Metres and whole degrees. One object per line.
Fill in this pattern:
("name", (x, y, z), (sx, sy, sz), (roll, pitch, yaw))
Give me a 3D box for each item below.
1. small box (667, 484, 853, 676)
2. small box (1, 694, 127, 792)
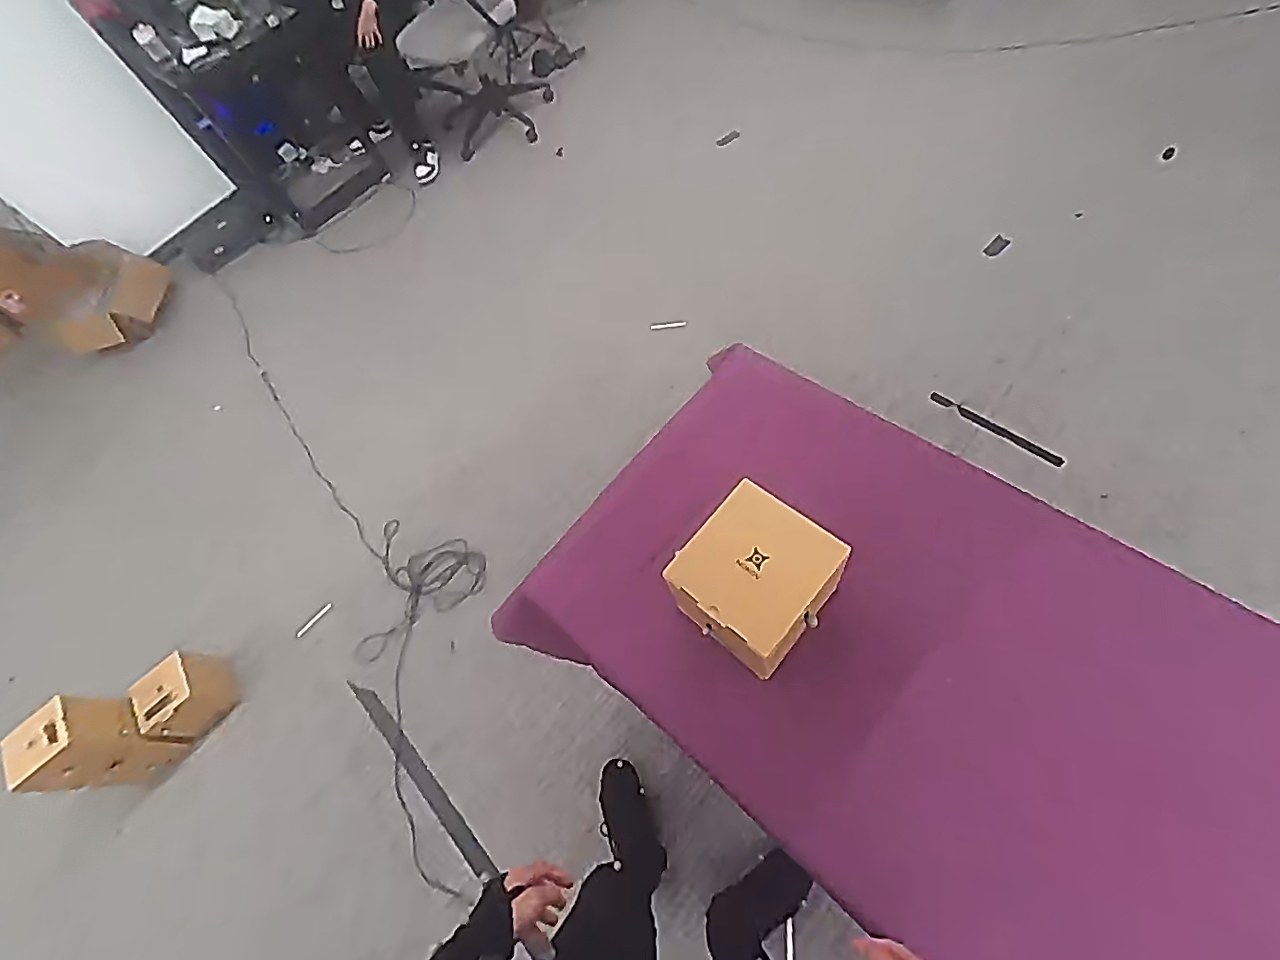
("small box", (0.161, 0.143, 0.746), (0.168, 0.176, 0.179), (37, 76, 26))
("small box", (-1.556, 0.714, 1.473), (0.179, 0.176, 0.168), (-42, 62, -9))
